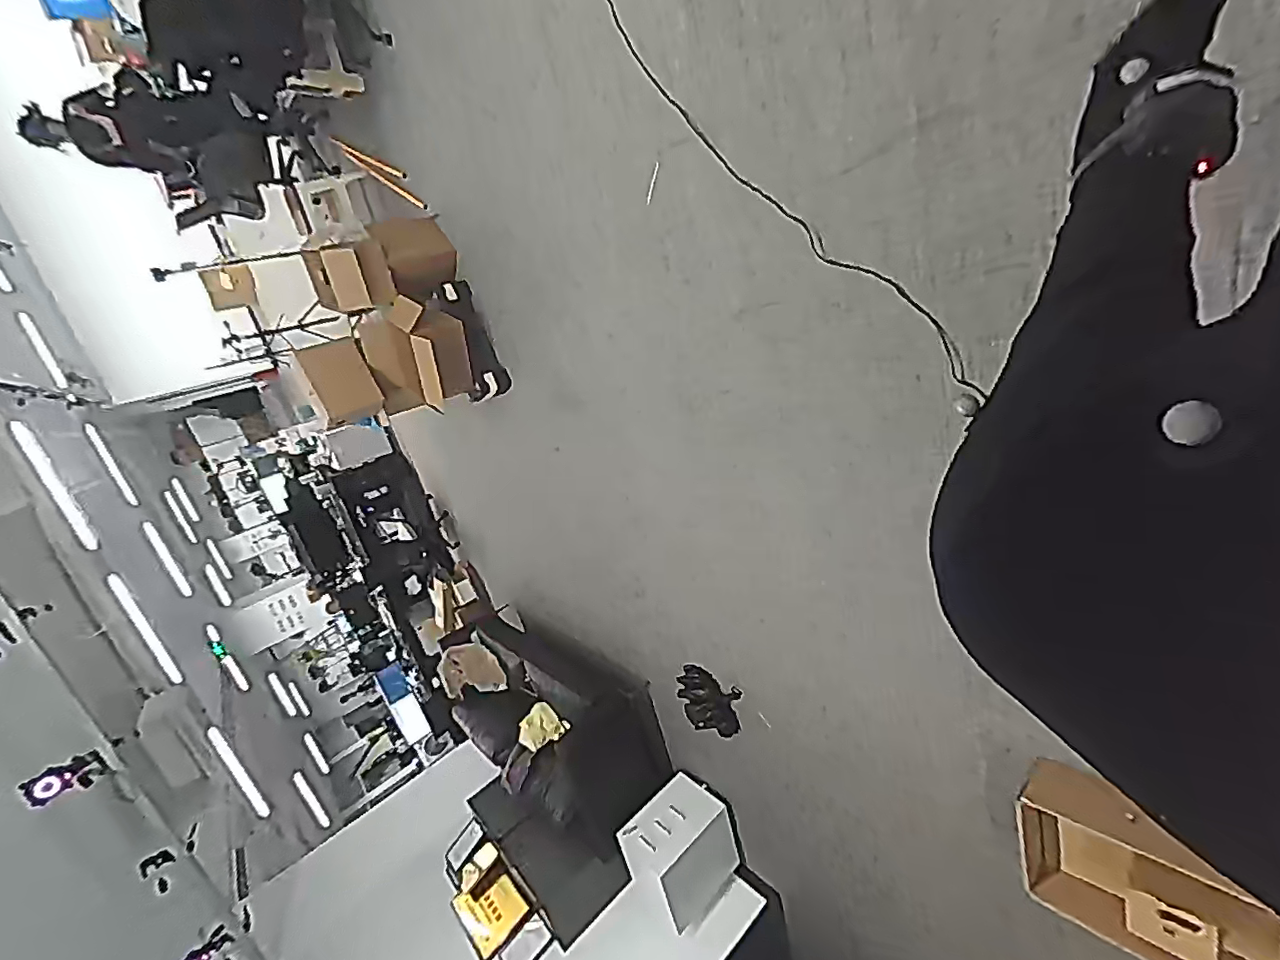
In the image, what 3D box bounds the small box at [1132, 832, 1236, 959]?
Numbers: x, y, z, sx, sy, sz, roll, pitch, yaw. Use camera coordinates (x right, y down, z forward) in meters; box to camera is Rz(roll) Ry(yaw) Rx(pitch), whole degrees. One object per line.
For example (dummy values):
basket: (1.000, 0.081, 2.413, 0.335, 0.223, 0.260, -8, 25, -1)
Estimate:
small box: (1.358, 1.039, 1.352, 0.168, 0.176, 0.179, 4, 118, 52)
